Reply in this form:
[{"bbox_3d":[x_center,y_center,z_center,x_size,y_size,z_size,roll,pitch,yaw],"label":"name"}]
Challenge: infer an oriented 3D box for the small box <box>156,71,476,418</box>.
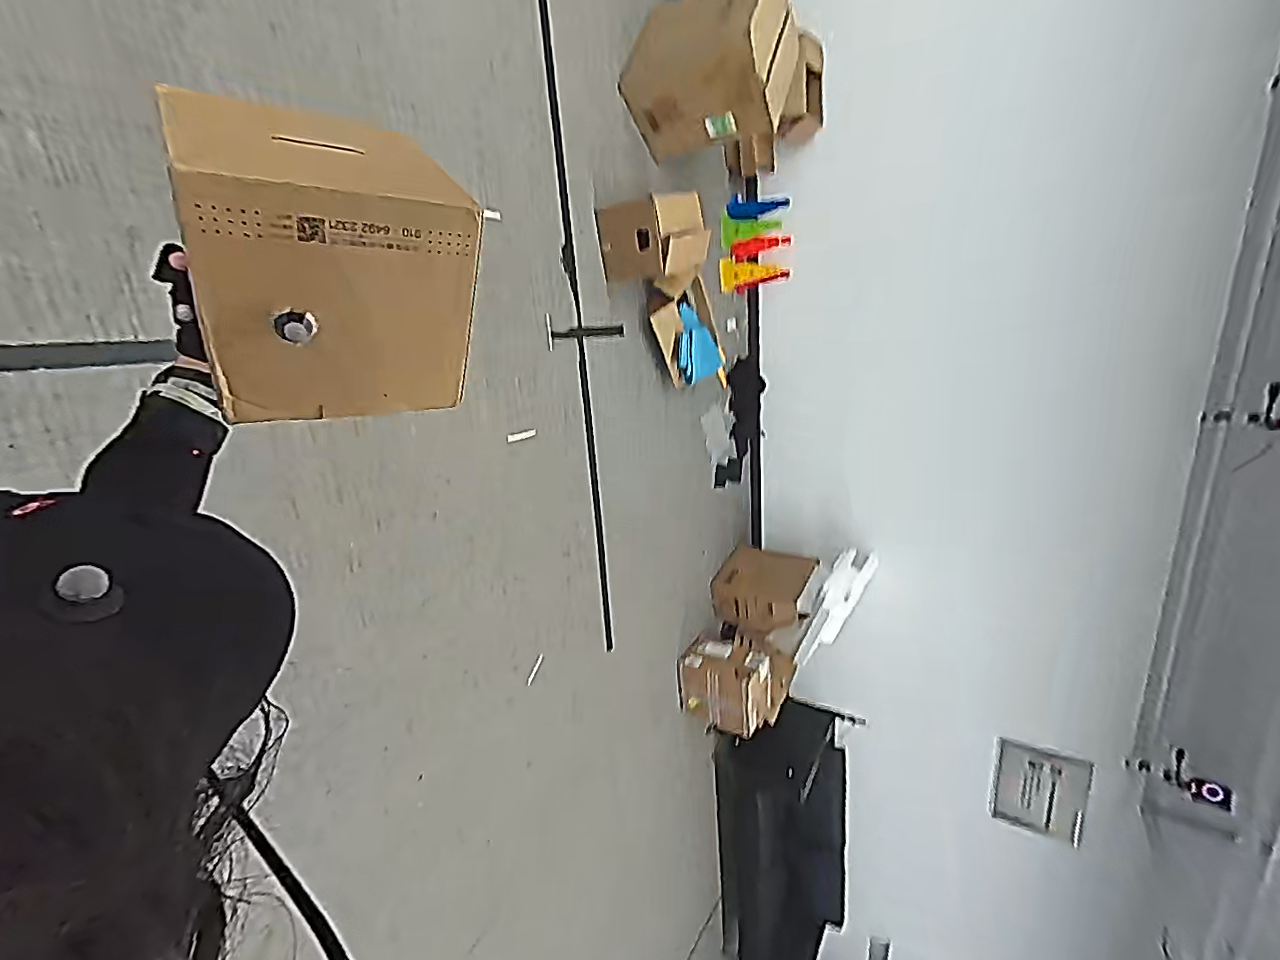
[{"bbox_3d":[-0.233,-0.170,0.402,0.168,0.179,0.176,-10,139,-37],"label":"small box"}]
